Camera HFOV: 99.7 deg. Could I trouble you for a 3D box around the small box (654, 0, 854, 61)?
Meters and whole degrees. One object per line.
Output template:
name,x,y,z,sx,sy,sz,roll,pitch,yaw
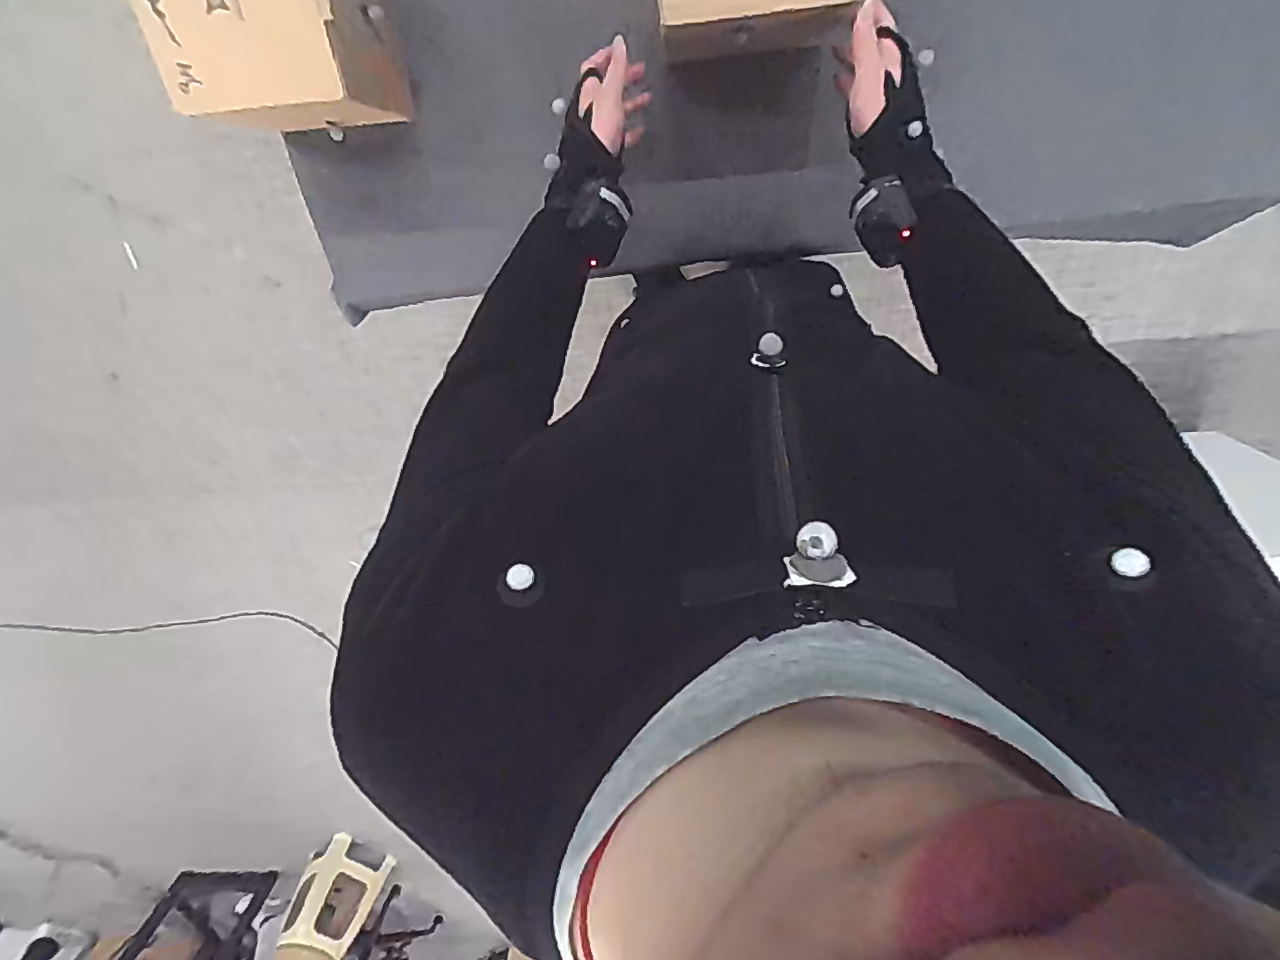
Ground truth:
small box,0.098,-0.506,0.492,0.179,0.176,0.168,-3,118,4

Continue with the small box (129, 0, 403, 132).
small box,-0.364,-0.462,0.548,0.179,0.176,0.168,-2,118,4
